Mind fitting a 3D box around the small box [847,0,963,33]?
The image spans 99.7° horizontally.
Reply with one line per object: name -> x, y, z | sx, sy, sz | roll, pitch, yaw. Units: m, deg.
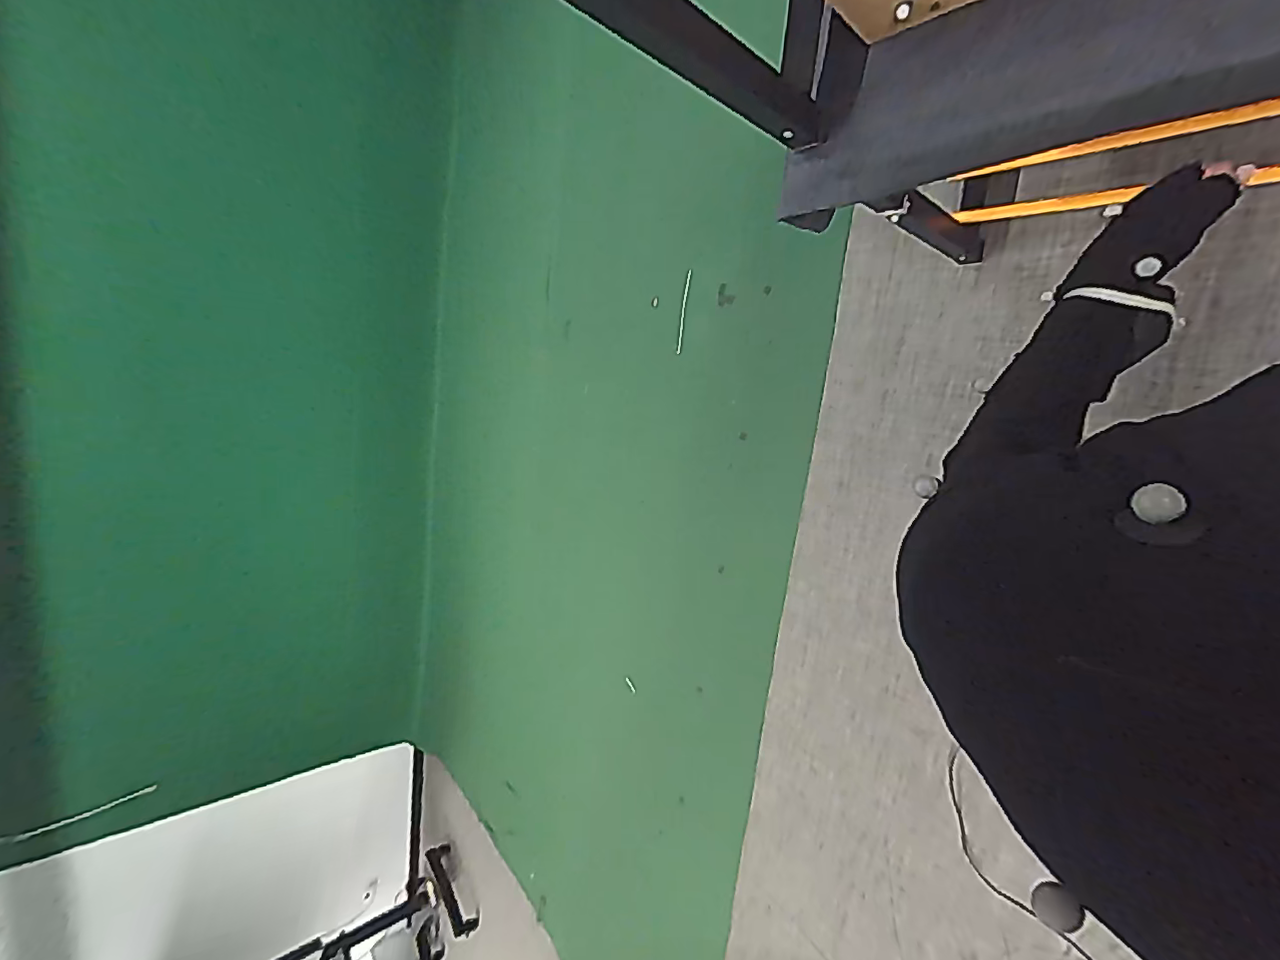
small box -> 0.342, -0.723, 0.676 | 0.168, 0.176, 0.179 | 17, 105, 47
